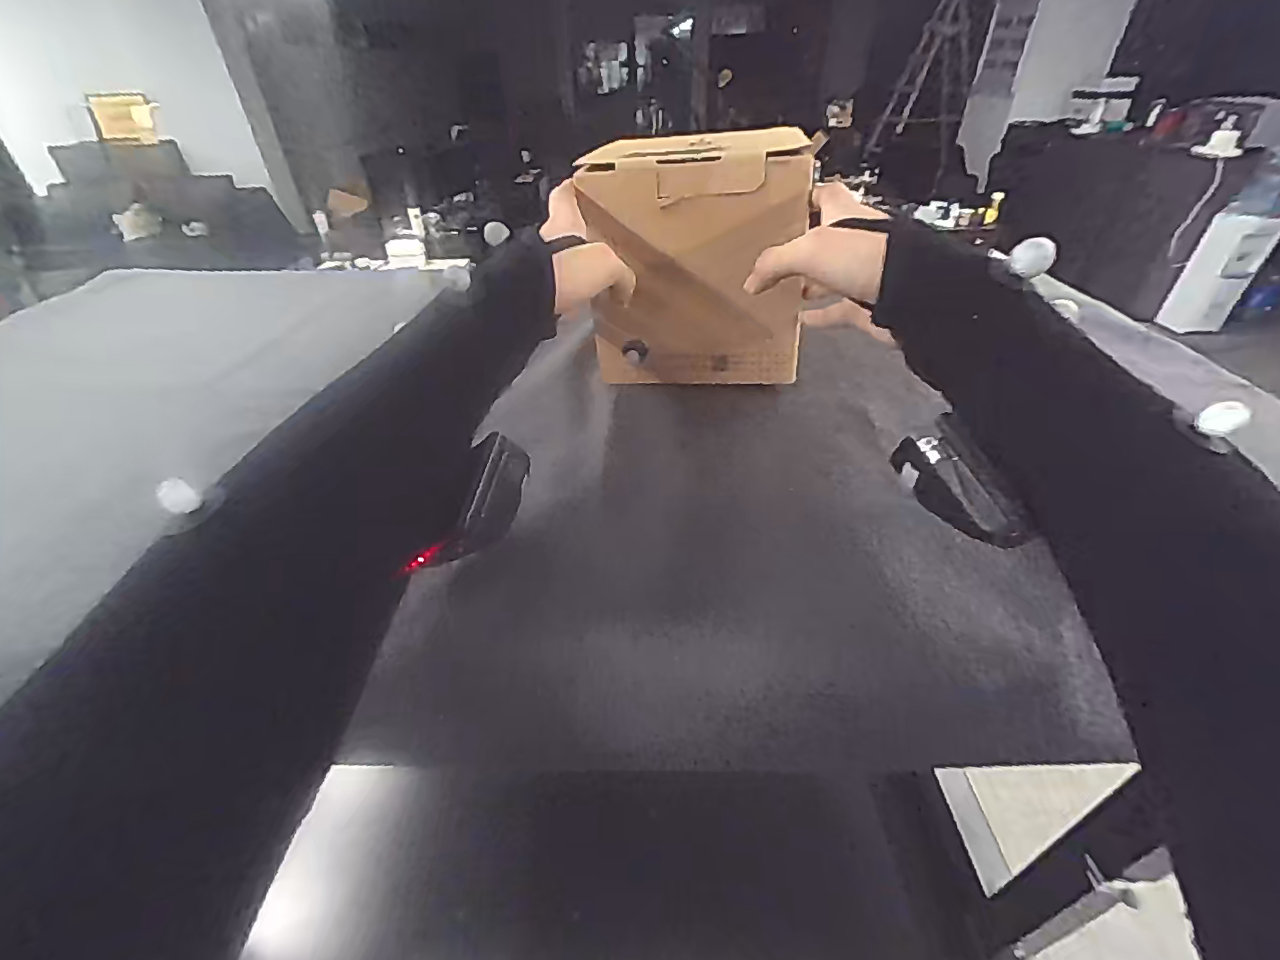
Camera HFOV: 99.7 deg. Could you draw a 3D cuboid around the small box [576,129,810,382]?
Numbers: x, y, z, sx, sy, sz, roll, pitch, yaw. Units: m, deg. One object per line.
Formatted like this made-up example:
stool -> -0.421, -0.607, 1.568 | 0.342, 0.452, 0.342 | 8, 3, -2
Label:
small box -> 0.054, -0.197, 0.480 | 0.168, 0.176, 0.179 | 3, 37, 10
